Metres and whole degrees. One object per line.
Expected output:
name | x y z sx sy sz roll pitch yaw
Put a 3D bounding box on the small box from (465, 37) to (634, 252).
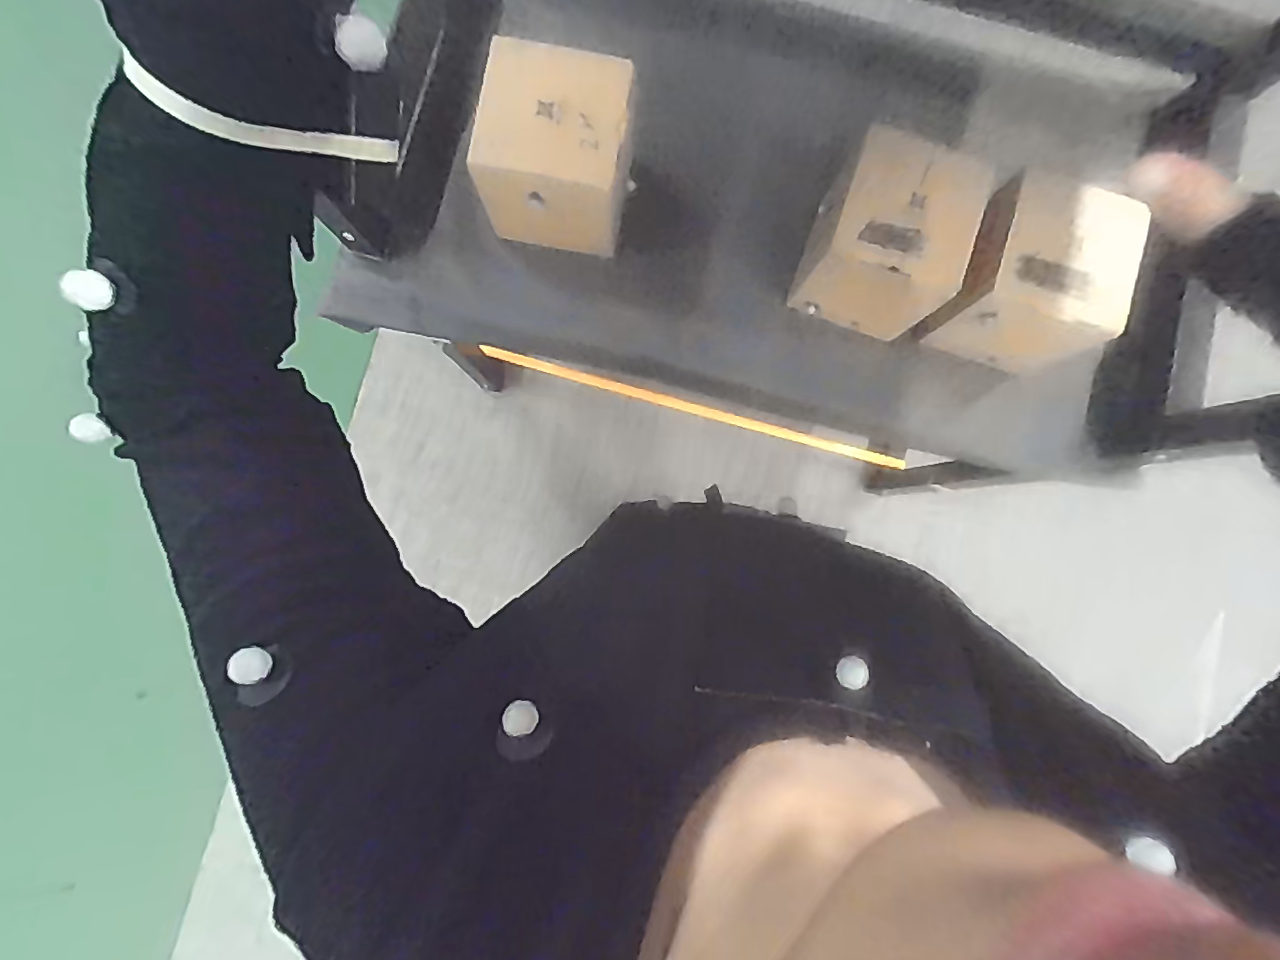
small box | -0.110 -0.429 0.721 0.179 0.176 0.168 10 86 -2
